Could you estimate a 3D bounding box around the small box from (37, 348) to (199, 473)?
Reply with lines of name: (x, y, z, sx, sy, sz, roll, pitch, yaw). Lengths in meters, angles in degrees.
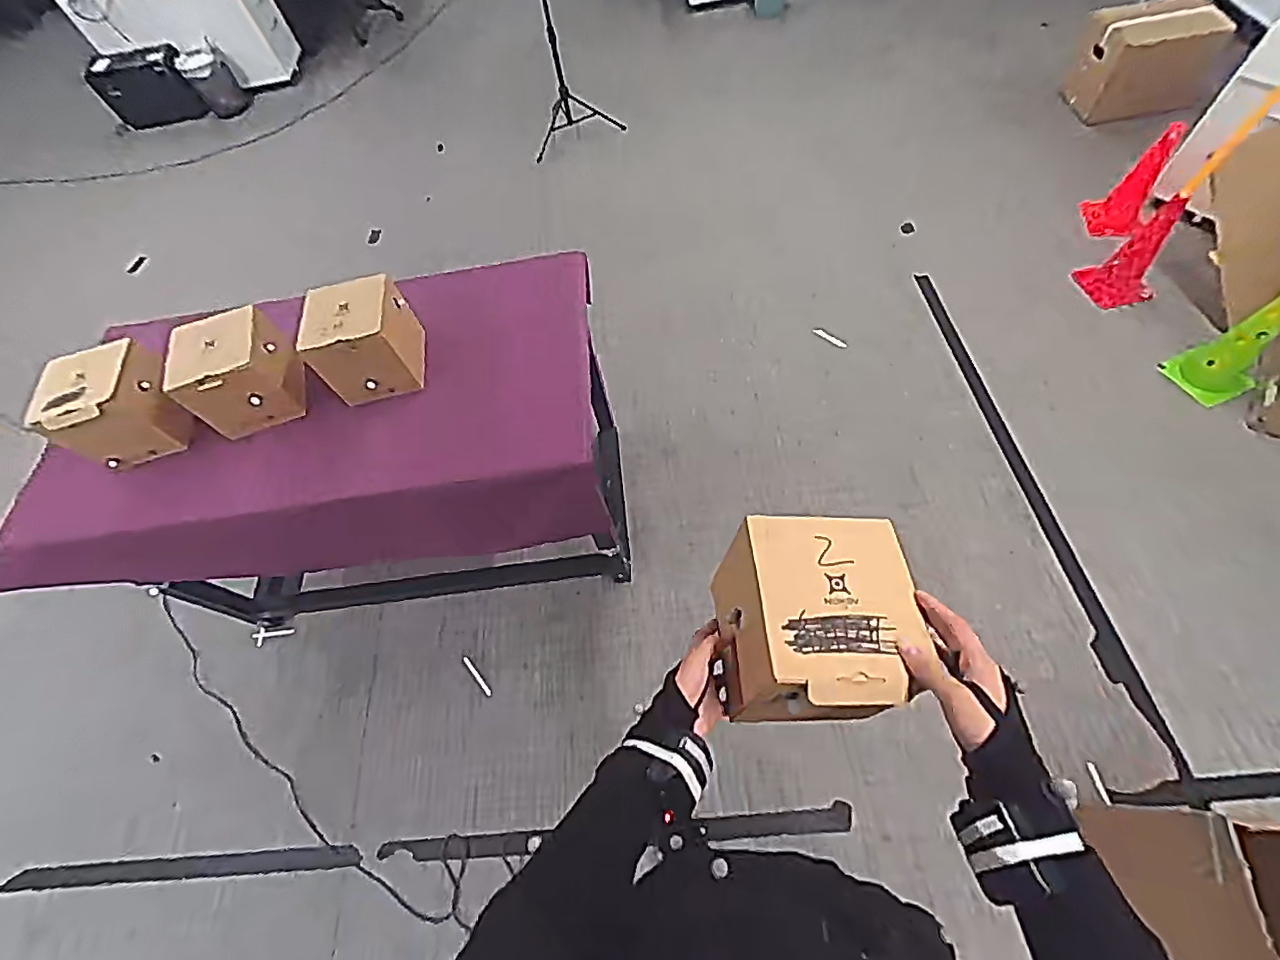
small box: (-1.056, -0.134, 1.116, 0.168, 0.176, 0.179, -18, 59, -3)

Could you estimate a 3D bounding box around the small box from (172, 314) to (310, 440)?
small box: (-0.815, -0.204, 1.123, 0.168, 0.176, 0.179, -19, 60, -4)

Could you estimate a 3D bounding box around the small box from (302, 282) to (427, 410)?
small box: (-0.558, -0.274, 1.123, 0.168, 0.176, 0.179, -13, 60, 1)
